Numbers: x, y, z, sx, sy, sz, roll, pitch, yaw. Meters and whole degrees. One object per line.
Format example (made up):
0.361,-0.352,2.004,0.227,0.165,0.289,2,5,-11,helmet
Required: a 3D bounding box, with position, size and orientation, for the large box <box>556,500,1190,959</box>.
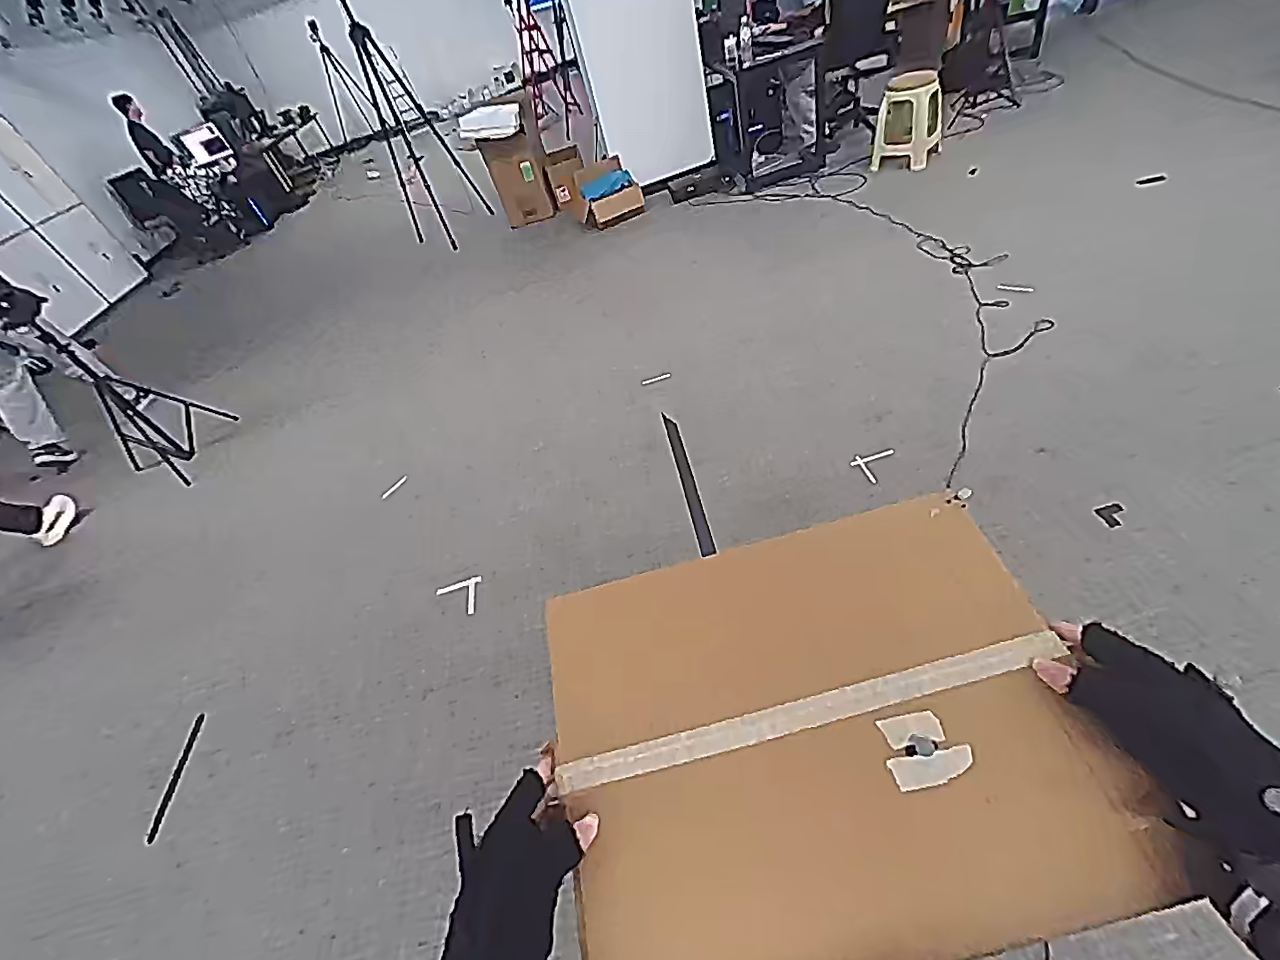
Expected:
0.162,0.278,0.558,0.408,0.320,0.320,-16,52,1,large box
